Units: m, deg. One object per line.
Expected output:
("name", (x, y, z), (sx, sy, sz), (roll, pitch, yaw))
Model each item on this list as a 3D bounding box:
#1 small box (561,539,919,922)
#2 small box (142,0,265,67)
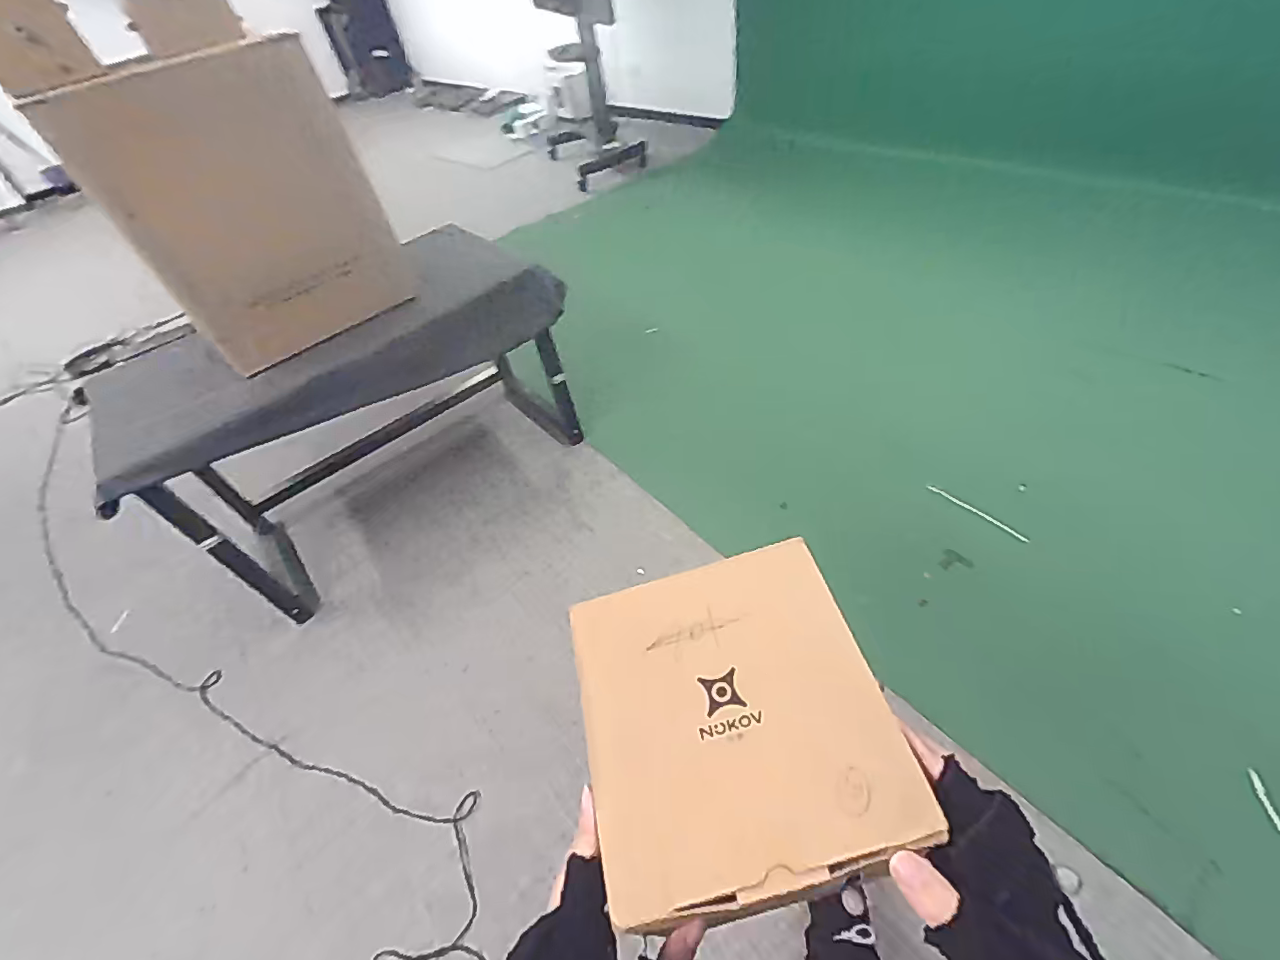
("small box", (0.057, 0.175, 0.371), (0.168, 0.176, 0.179), (-17, 47, 0))
("small box", (-0.923, -0.992, 1.126), (0.179, 0.176, 0.168), (-36, 52, -20))
